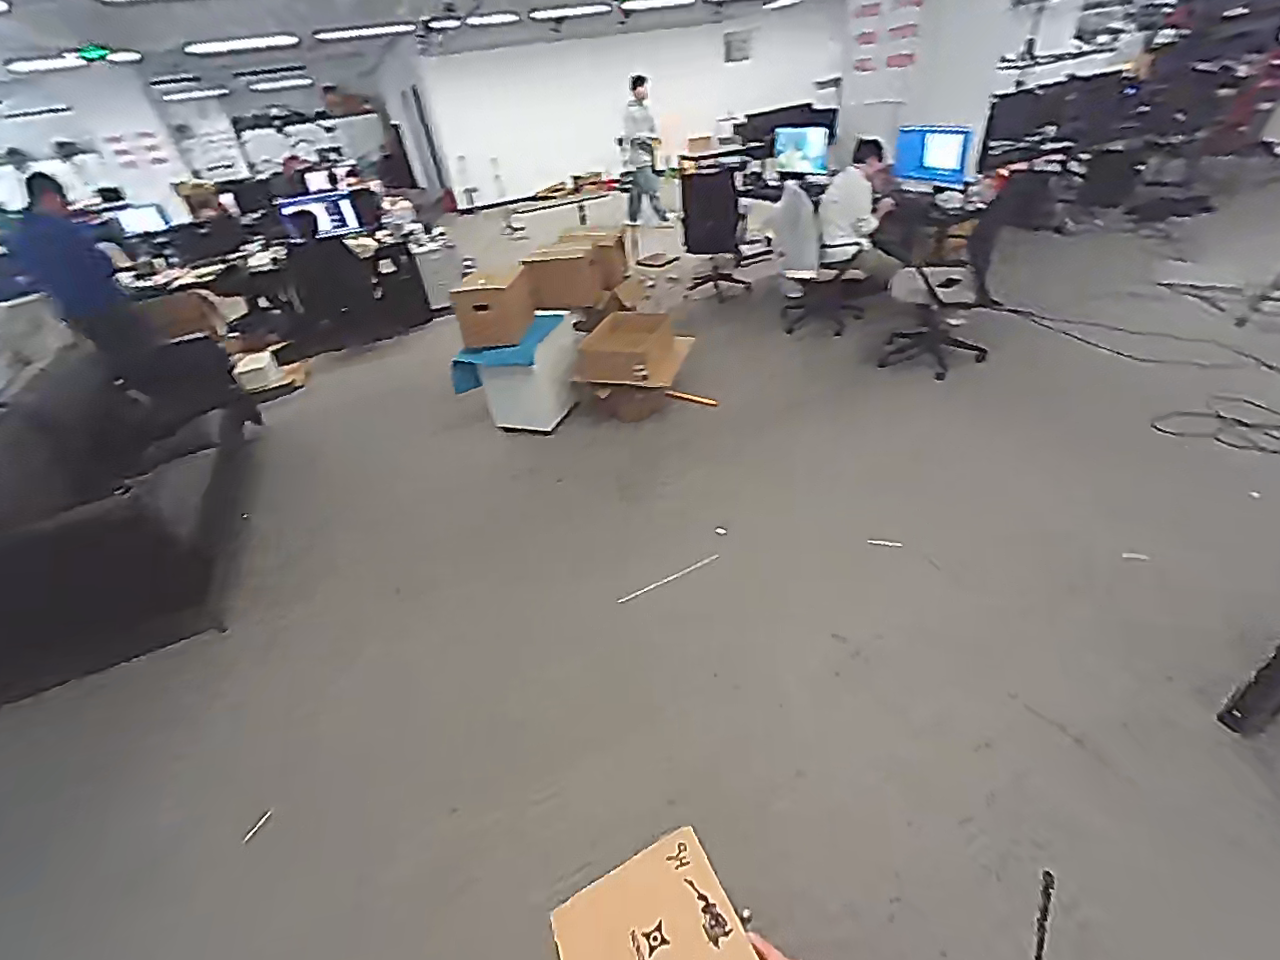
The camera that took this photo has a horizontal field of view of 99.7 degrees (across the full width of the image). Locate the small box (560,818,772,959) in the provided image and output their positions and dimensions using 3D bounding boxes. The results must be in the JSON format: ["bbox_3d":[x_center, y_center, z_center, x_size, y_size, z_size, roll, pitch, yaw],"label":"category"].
[{"bbox_3d":[0.043,0.504,0.545,0.179,0.176,0.168,-26,22,-11],"label":"small box"}]
